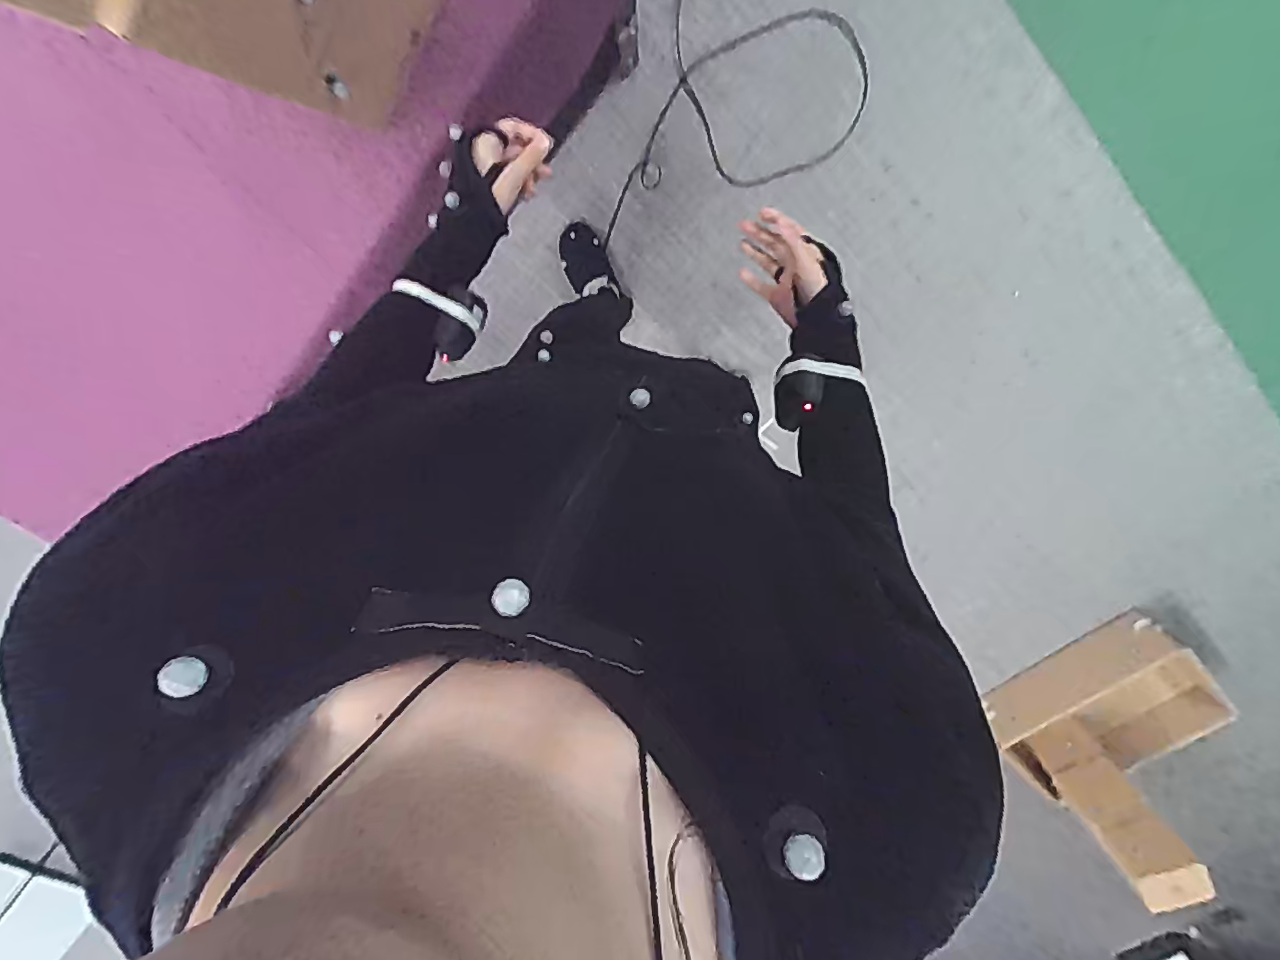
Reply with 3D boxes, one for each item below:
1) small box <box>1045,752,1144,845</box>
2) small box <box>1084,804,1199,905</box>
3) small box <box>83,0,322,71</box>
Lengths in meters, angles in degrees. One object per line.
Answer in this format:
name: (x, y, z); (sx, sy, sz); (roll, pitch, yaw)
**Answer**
small box: (1.438, 0.997, 1.704); (0.179, 0.176, 0.168); (-31, 109, 14)
small box: (1.434, 1.067, 1.557); (0.168, 0.176, 0.179); (-29, 111, 15)
small box: (-0.316, -0.400, 0.329); (0.179, 0.176, 0.168); (35, 111, -14)
